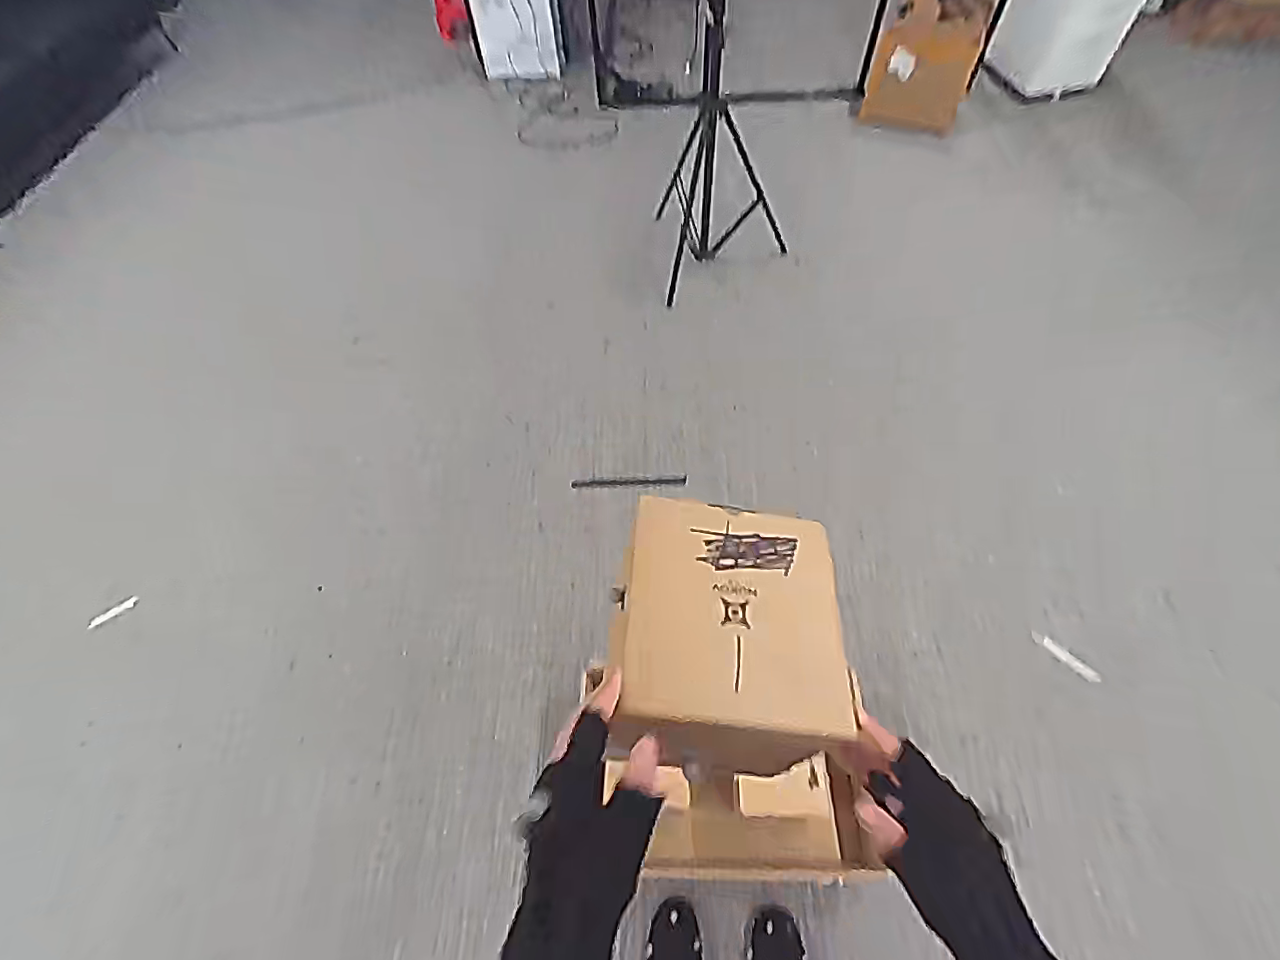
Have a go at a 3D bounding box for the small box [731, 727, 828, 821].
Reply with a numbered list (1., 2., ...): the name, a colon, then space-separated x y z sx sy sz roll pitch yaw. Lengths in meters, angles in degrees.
1. small box: 0.288 0.633 1.160 0.179 0.176 0.168 -1 59 4

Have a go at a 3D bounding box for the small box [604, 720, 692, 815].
1. small box: 0.021 0.627 1.176 0.179 0.176 0.168 1 57 3
